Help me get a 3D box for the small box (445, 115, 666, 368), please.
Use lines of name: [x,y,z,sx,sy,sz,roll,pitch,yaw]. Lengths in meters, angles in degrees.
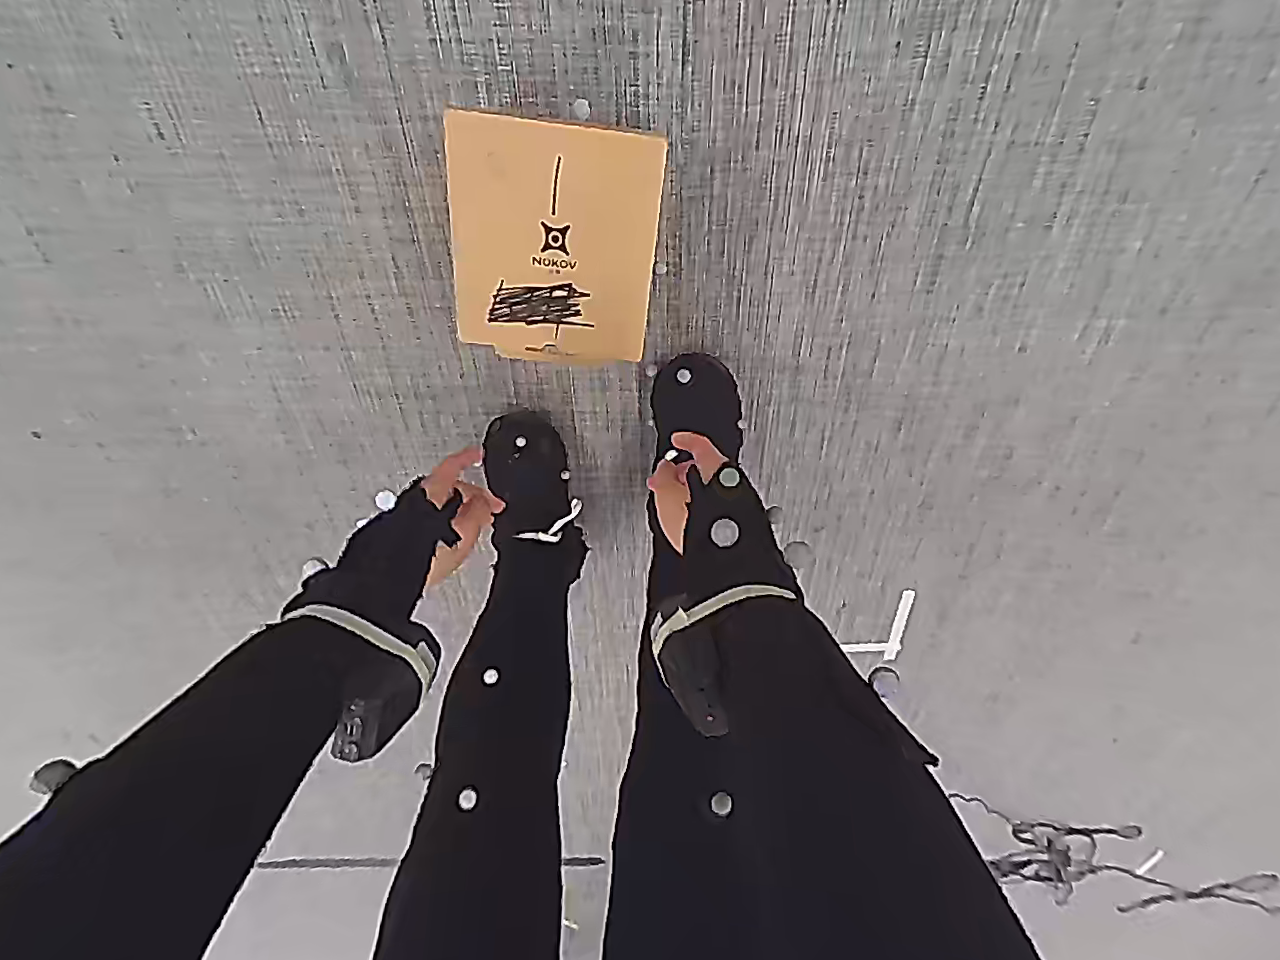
small box: [-0.070,-0.225,0.505,0.168,0.176,0.179,5,122,-4]
